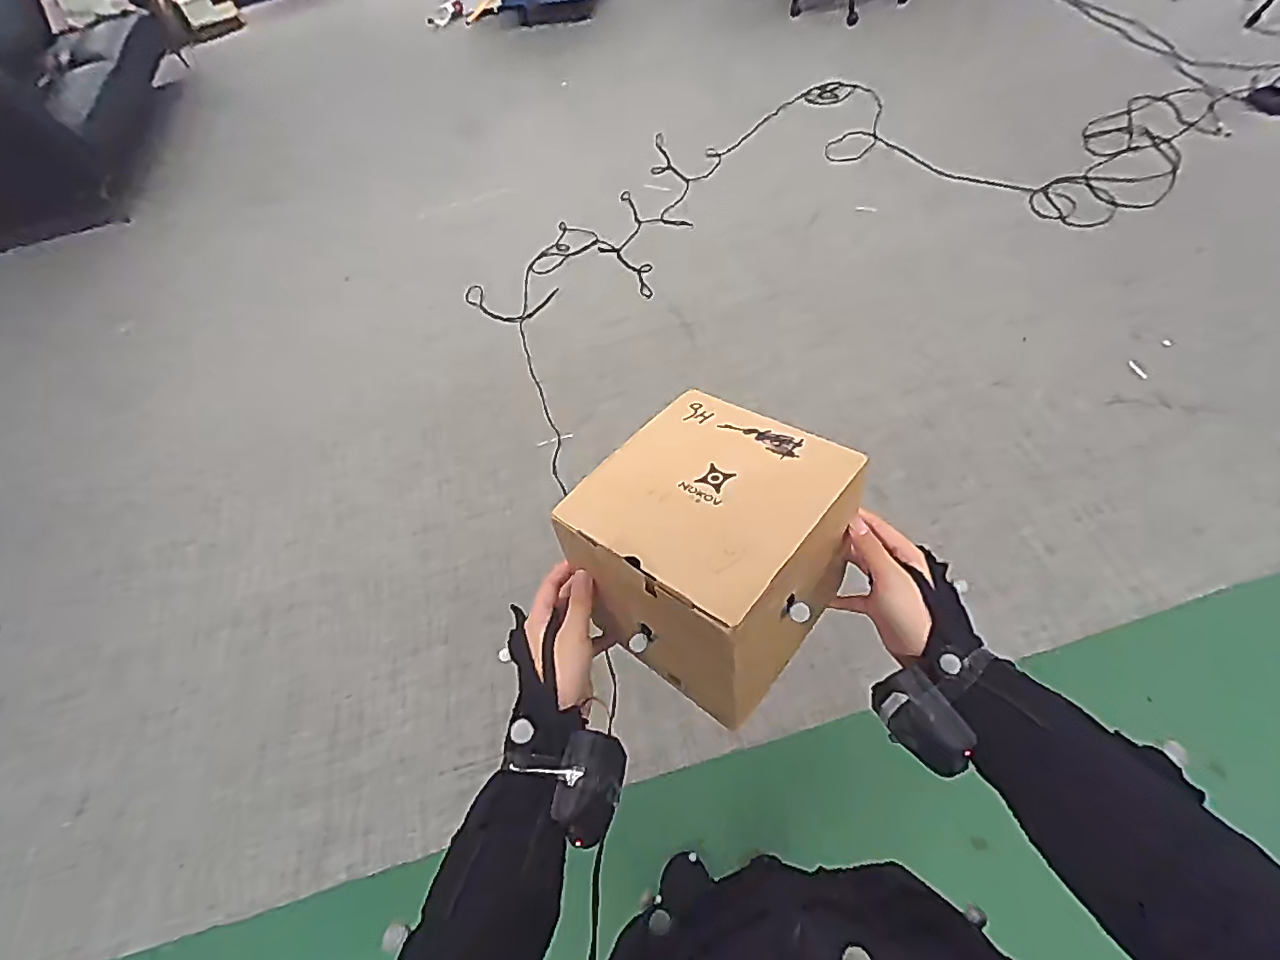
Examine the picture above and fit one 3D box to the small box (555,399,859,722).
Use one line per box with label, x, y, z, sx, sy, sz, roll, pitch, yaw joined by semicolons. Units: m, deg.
small box;0.062;0.067;0.459;0.168;0.176;0.179;28;58;33
